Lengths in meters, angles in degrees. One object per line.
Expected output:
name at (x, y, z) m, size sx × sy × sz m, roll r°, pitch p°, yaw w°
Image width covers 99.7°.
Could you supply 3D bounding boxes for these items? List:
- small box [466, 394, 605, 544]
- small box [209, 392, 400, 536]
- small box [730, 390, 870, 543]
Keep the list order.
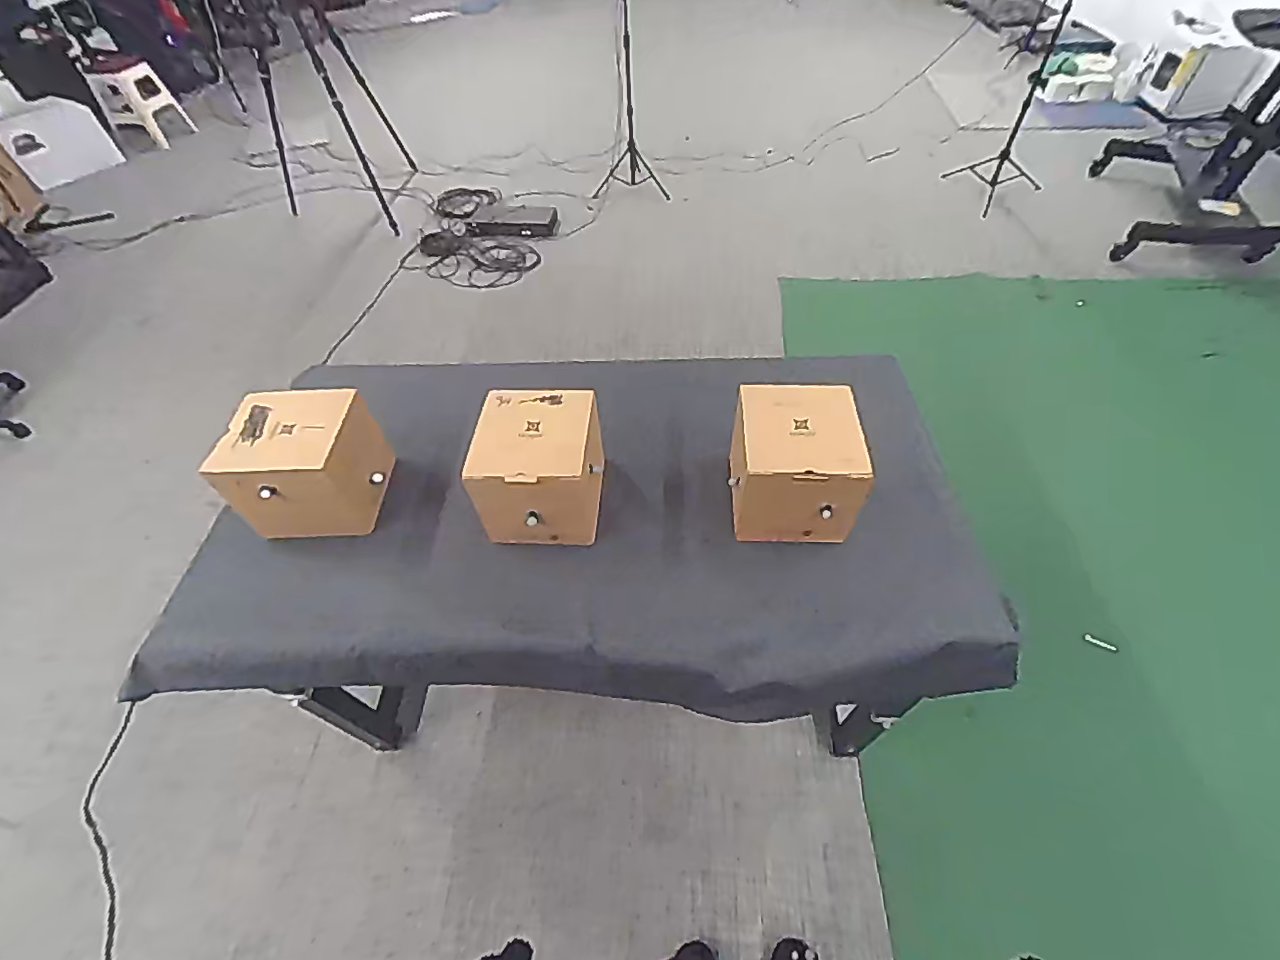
small box at (-0.148, -0.014, 0.843) m, size 0.168 × 0.176 × 0.179 m, roll 1°, pitch 52°, yaw 4°
small box at (-0.518, -0.022, 0.865) m, size 0.179 × 0.176 × 0.168 m, roll -2°, pitch 51°, yaw 0°
small box at (0.231, -0.018, 0.828) m, size 0.168 × 0.176 × 0.179 m, roll 1°, pitch 50°, yaw 3°
